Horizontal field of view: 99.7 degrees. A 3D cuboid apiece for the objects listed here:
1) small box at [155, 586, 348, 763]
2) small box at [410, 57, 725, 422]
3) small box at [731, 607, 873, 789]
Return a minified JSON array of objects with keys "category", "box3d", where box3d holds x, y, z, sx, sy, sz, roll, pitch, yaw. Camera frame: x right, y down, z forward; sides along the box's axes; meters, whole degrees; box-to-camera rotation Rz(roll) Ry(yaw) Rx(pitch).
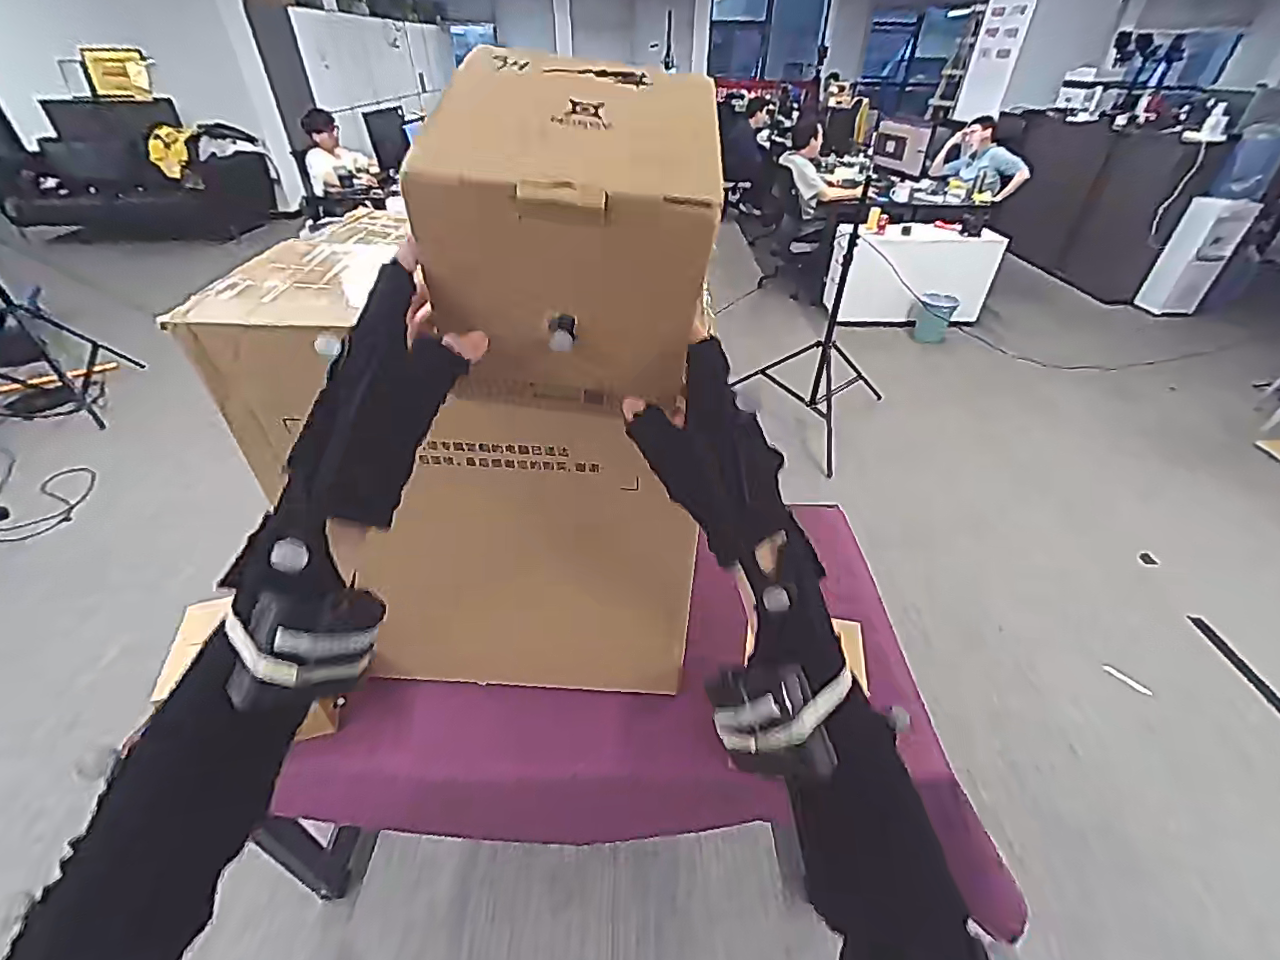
[{"category":"small box","box3d":[-0.560,0.290,0.815,0.179,0.176,0.168,-9,38,-15]},{"category":"small box","box3d":[-0.038,-0.161,0.386,0.168,0.176,0.179,6,55,-3]},{"category":"small box","box3d":[0.229,0.320,0.797,0.168,0.176,0.179,8,37,9]}]
